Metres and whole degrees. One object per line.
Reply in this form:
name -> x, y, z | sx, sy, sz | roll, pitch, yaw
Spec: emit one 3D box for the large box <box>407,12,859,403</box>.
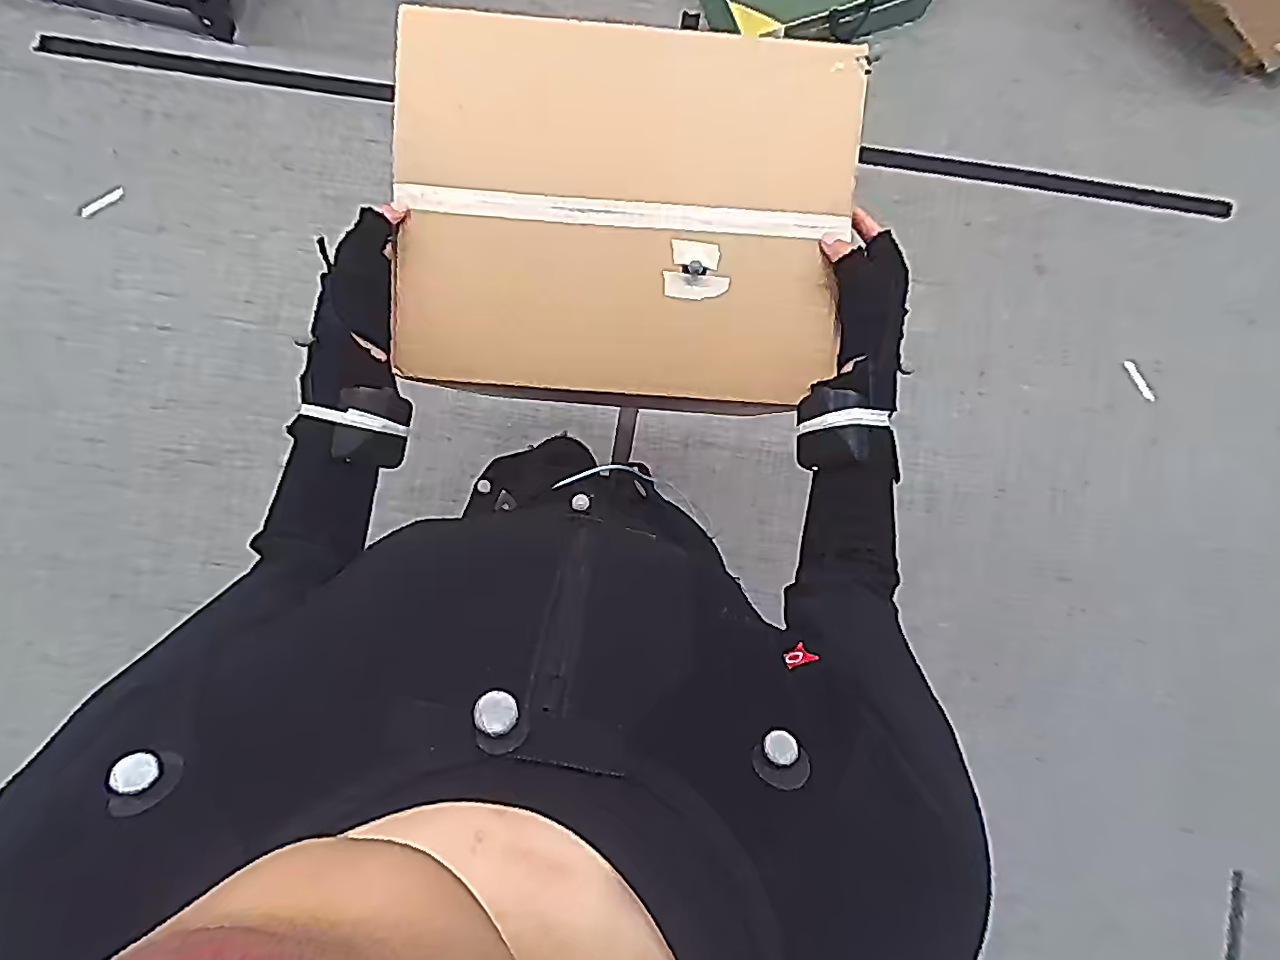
large box -> -0.015, -0.262, 0.640 | 0.408, 0.320, 0.320 | 4, 97, -2
